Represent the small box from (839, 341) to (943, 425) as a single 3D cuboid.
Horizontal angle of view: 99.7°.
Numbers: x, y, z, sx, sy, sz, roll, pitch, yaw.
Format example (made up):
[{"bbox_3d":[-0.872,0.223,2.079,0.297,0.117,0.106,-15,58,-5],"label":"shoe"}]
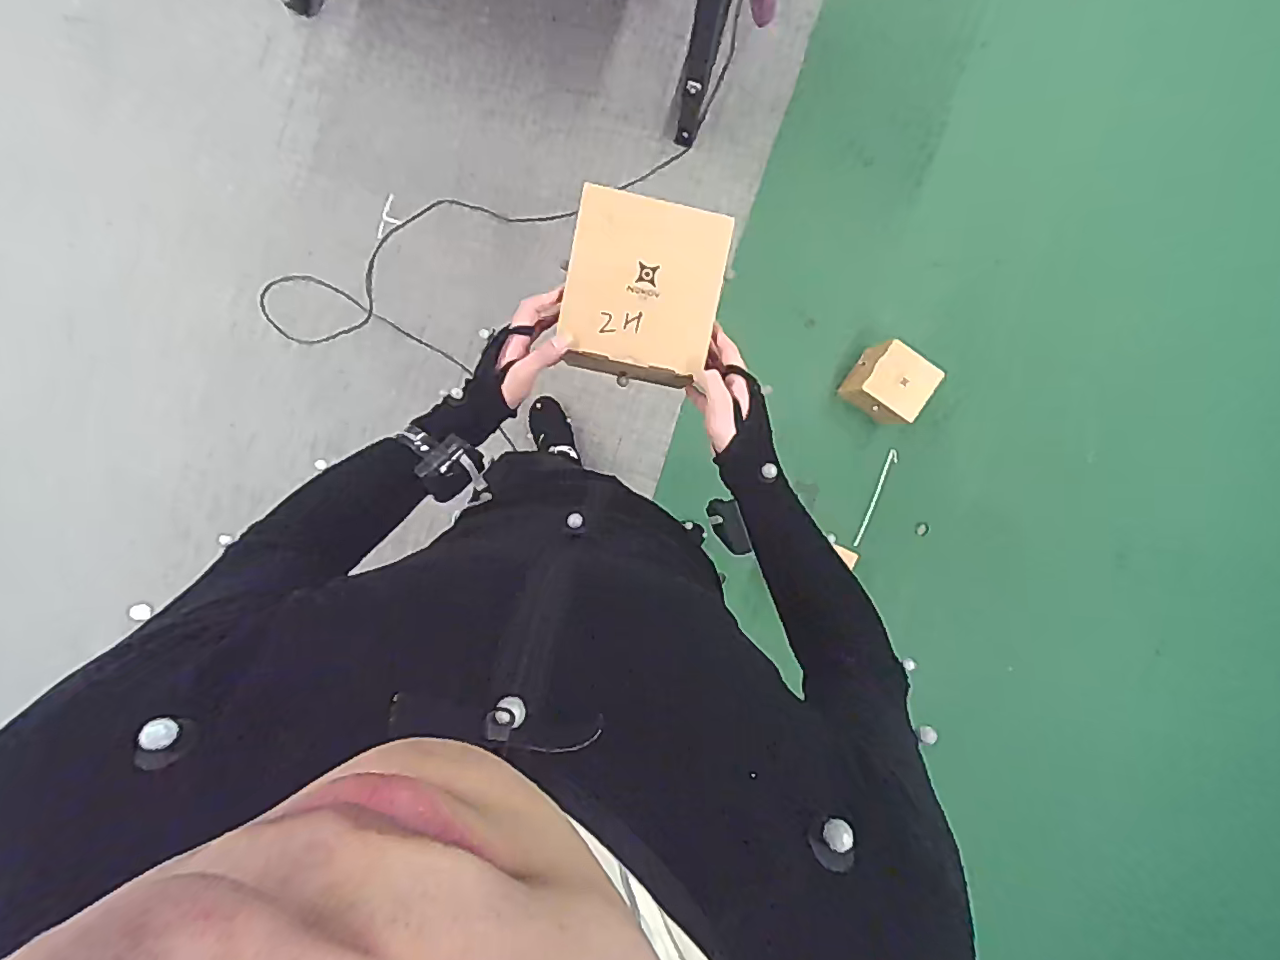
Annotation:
[{"bbox_3d":[0.713,-0.273,1.553,0.179,0.176,0.168,34,93,-3],"label":"small box"}]
